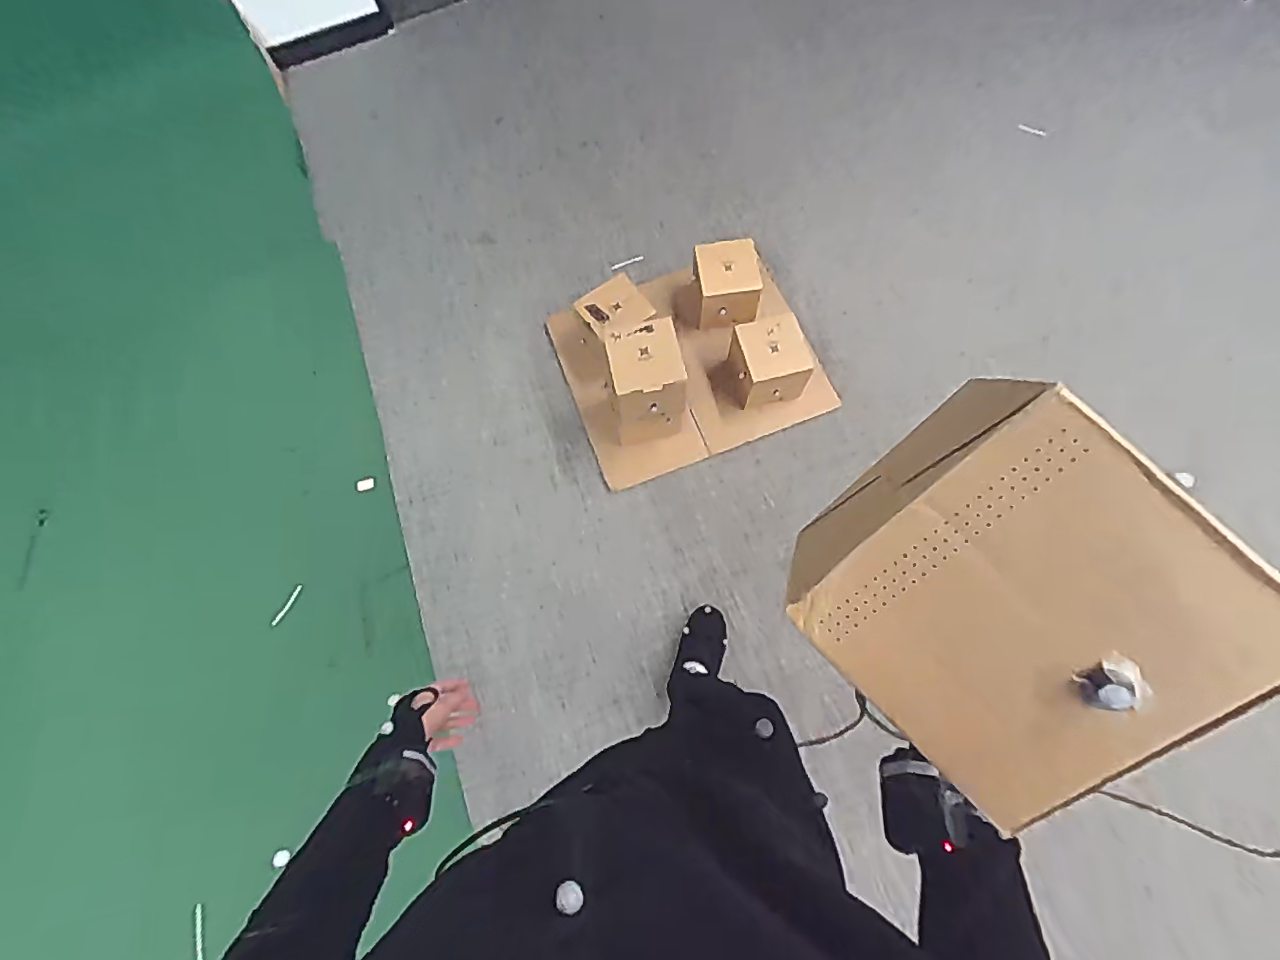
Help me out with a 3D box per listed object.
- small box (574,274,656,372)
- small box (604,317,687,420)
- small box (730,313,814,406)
[{"bbox_3d":[-0.063,-0.441,1.543,0.179,0.176,0.168,-34,73,-9],"label":"small box"},{"bbox_3d":[0.015,-0.258,1.303,0.168,0.176,0.179,-12,72,-2],"label":"small box"},{"bbox_3d":[0.351,-0.318,1.471,0.168,0.176,0.179,-13,71,-2],"label":"small box"}]
